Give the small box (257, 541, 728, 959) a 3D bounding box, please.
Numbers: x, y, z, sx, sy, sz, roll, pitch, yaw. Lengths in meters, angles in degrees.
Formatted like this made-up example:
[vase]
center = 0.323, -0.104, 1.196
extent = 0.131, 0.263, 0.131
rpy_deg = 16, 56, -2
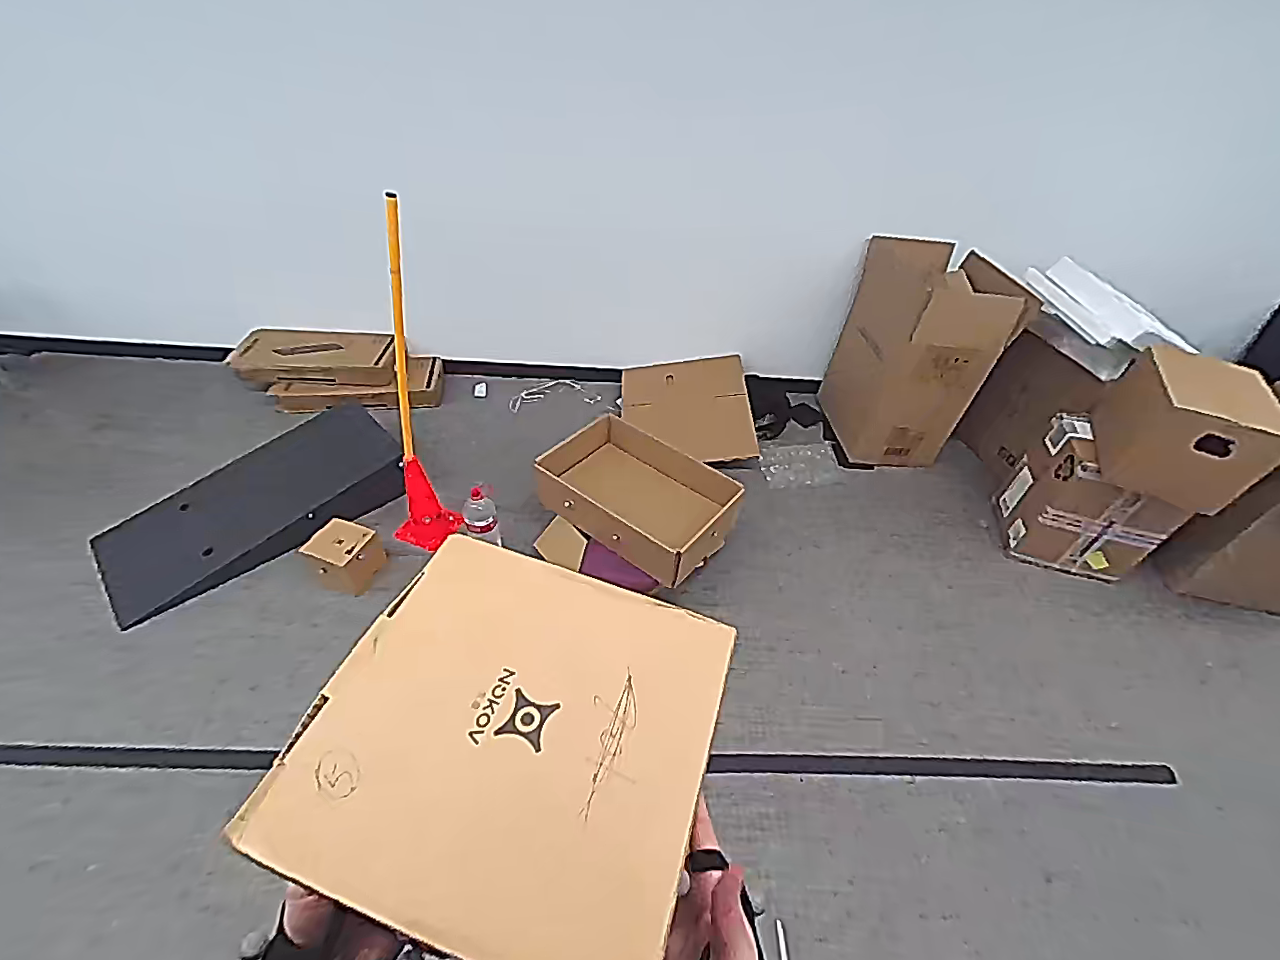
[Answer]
[small box]
center = -0.064, 0.169, 0.322
extent = 0.179, 0.176, 0.168
rpy_deg = 17, 46, 8
